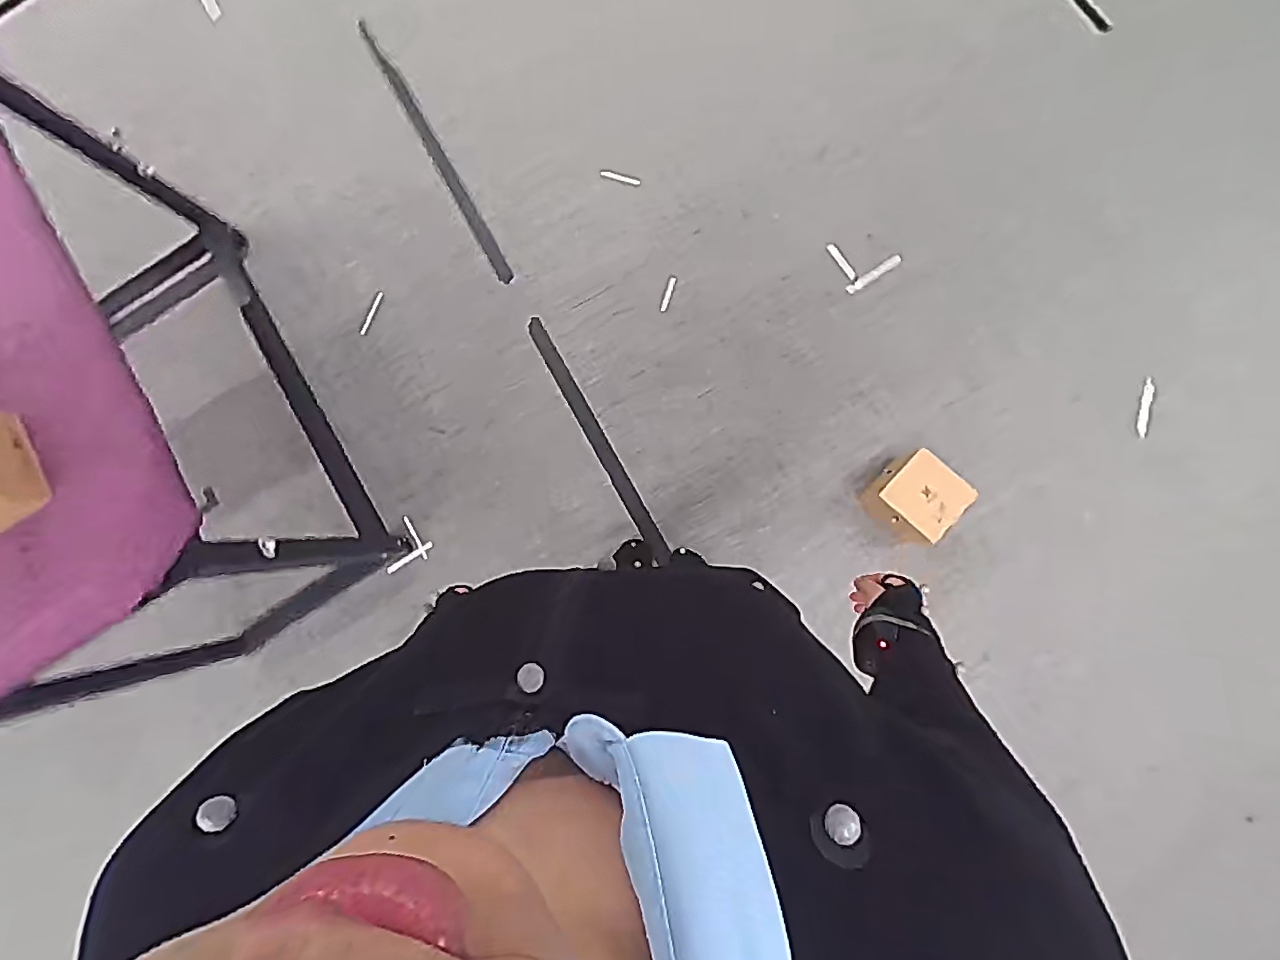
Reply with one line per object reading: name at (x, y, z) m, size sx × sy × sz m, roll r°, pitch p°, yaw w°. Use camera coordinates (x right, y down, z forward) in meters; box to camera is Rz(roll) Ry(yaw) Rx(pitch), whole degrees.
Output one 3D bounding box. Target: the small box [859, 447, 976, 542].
small box at (0.697, 0.044, 1.384) m, size 0.179 × 0.176 × 0.168 m, roll 43°, pitch 88°, yaw 7°
